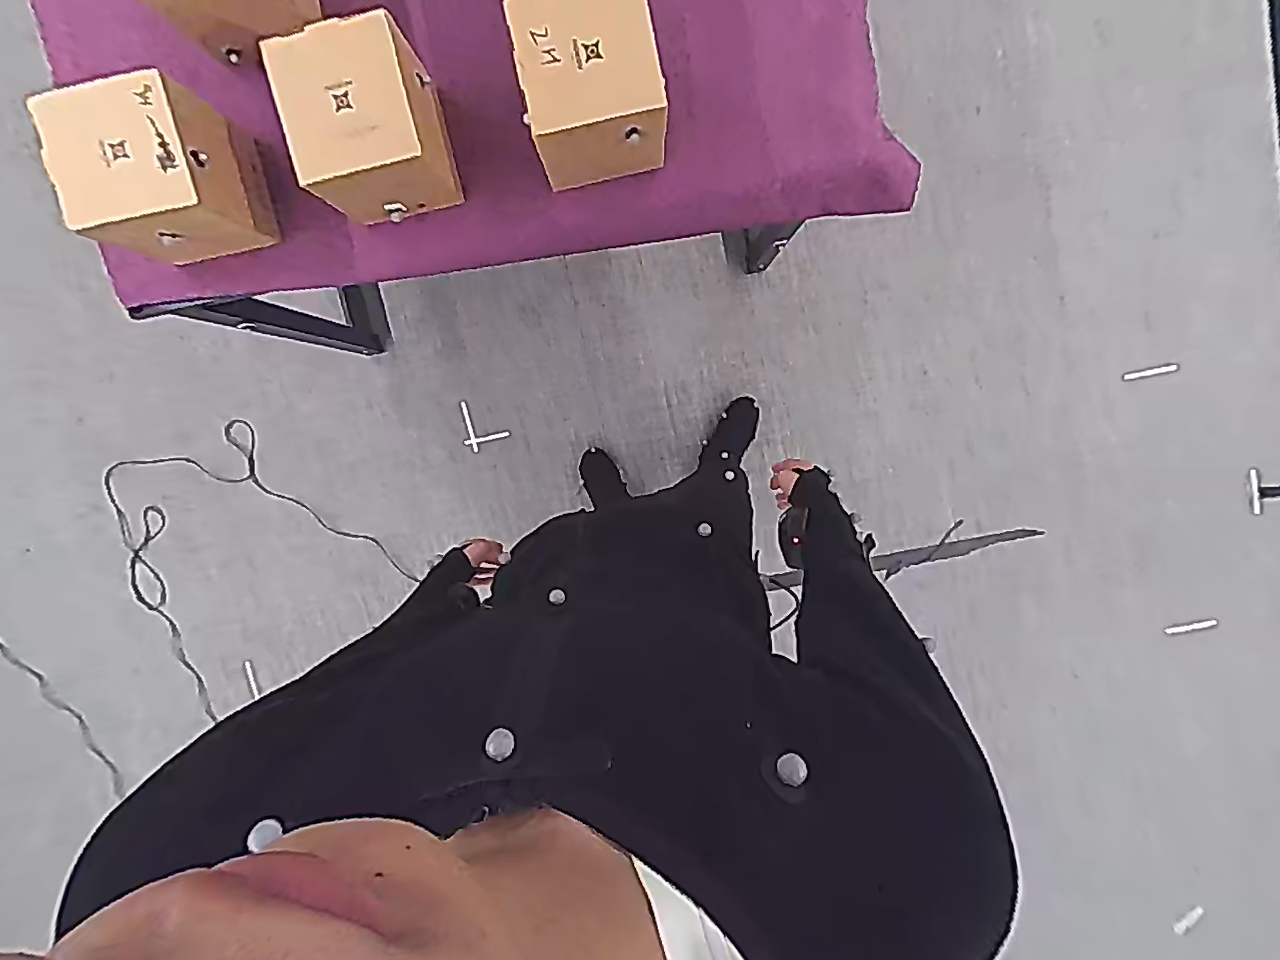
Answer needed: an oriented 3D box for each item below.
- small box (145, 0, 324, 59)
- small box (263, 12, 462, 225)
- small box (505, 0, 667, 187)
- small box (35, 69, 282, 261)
[{"bbox_3d":[-0.565,-0.714,0.730,0.168,0.176,0.179,-12,96,2],"label":"small box"},{"bbox_3d":[-0.371,-0.488,0.757,0.168,0.176,0.179,-12,98,3],"label":"small box"},{"bbox_3d":[-0.066,-0.535,0.745,0.179,0.176,0.168,-12,96,2],"label":"small box"},{"bbox_3d":[-0.660,-0.427,0.764,0.179,0.176,0.168,-11,97,2],"label":"small box"}]
